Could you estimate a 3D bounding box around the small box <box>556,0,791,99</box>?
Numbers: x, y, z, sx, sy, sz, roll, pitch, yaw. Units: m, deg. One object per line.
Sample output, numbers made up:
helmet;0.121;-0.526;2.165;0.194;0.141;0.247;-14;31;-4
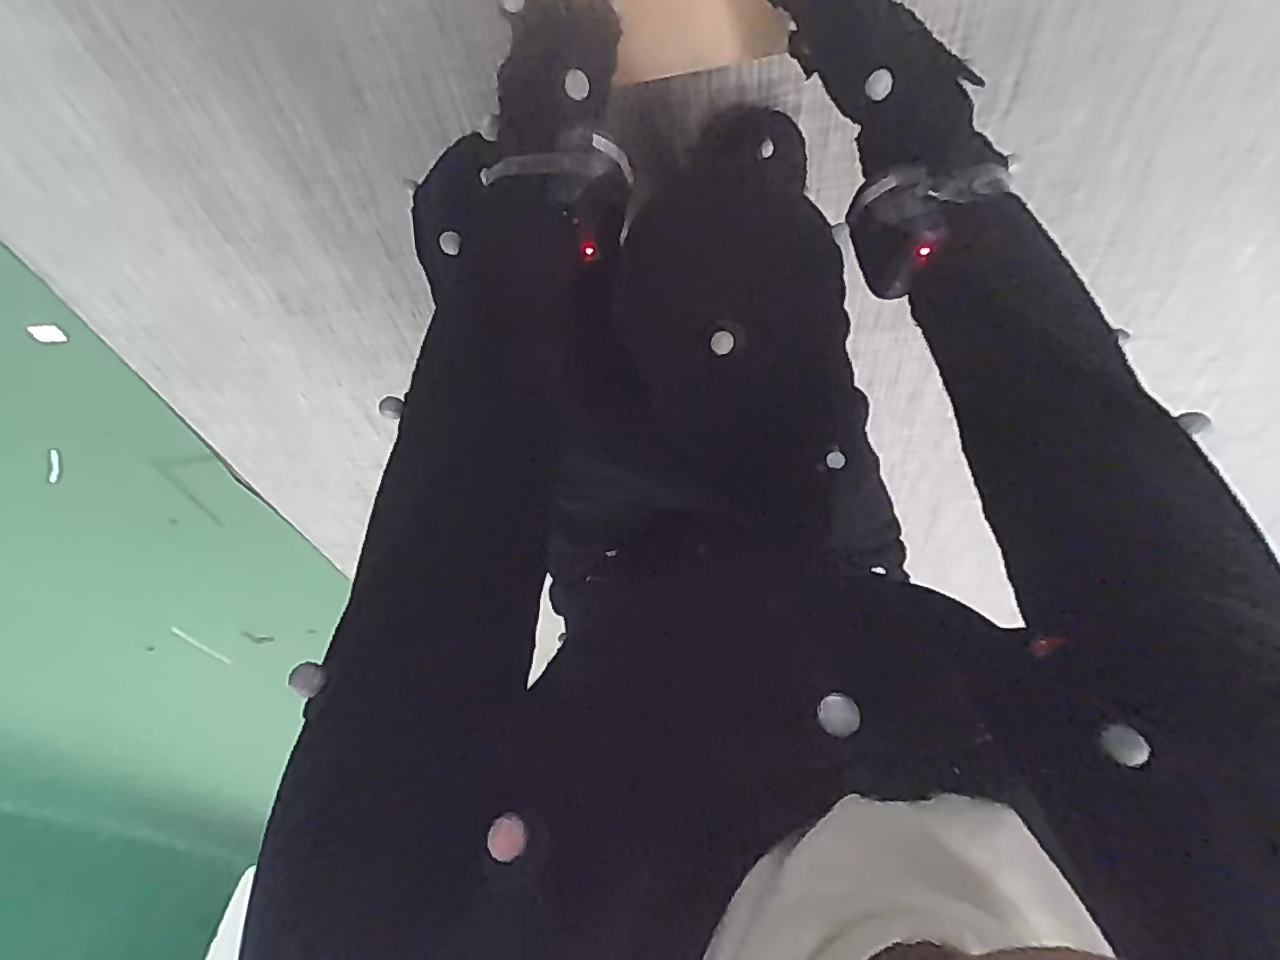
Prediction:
small box;0.022;-0.440;0.435;0.179;0.176;0.168;-5;137;10
